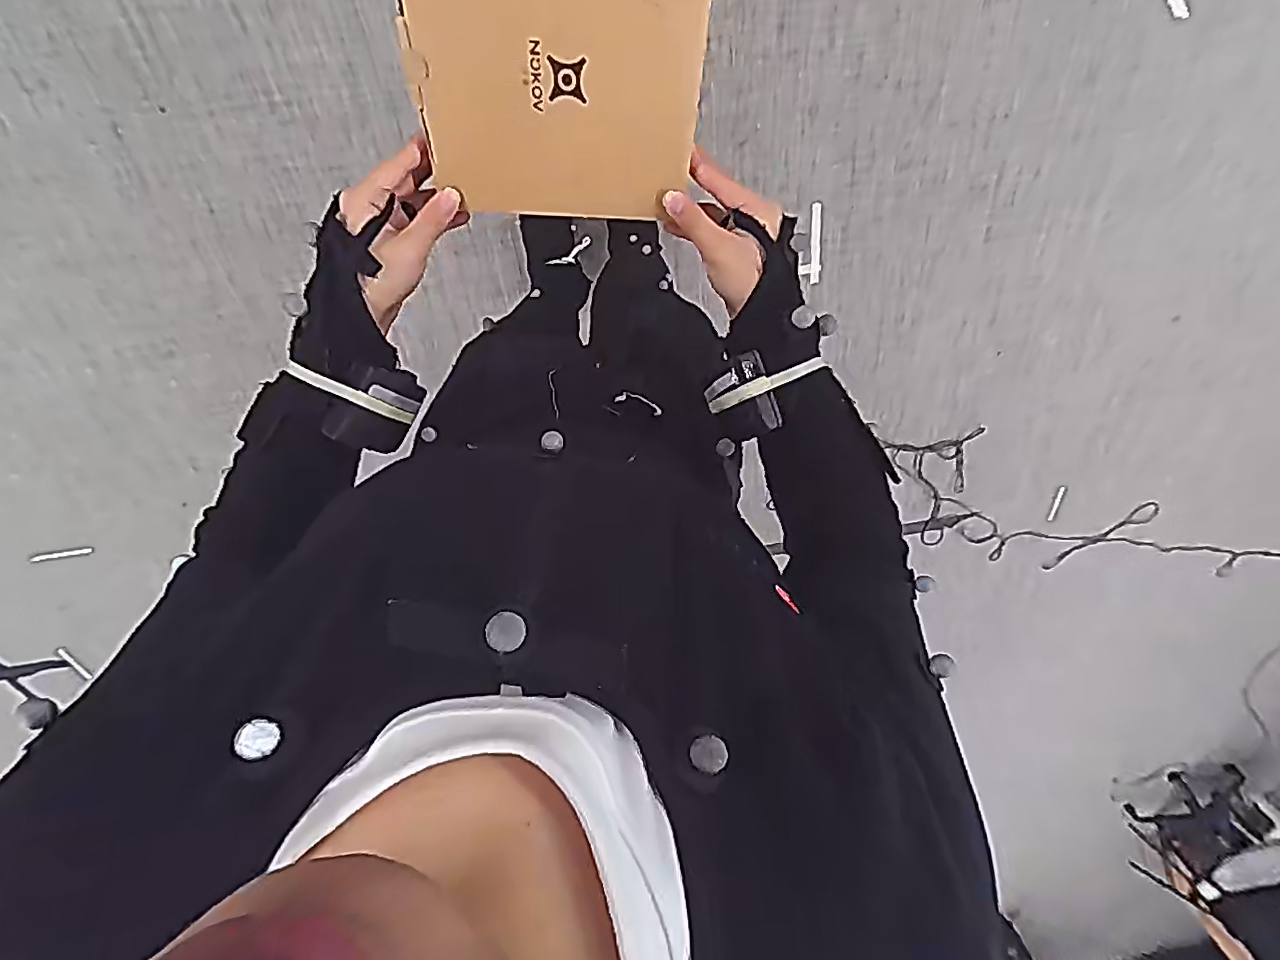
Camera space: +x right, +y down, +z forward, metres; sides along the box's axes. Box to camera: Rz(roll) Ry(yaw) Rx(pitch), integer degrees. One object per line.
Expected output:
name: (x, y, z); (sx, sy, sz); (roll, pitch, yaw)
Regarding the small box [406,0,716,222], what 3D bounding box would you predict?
small box: (-0.051, -0.307, 0.383); (0.179, 0.176, 0.168); (1, 140, -5)
